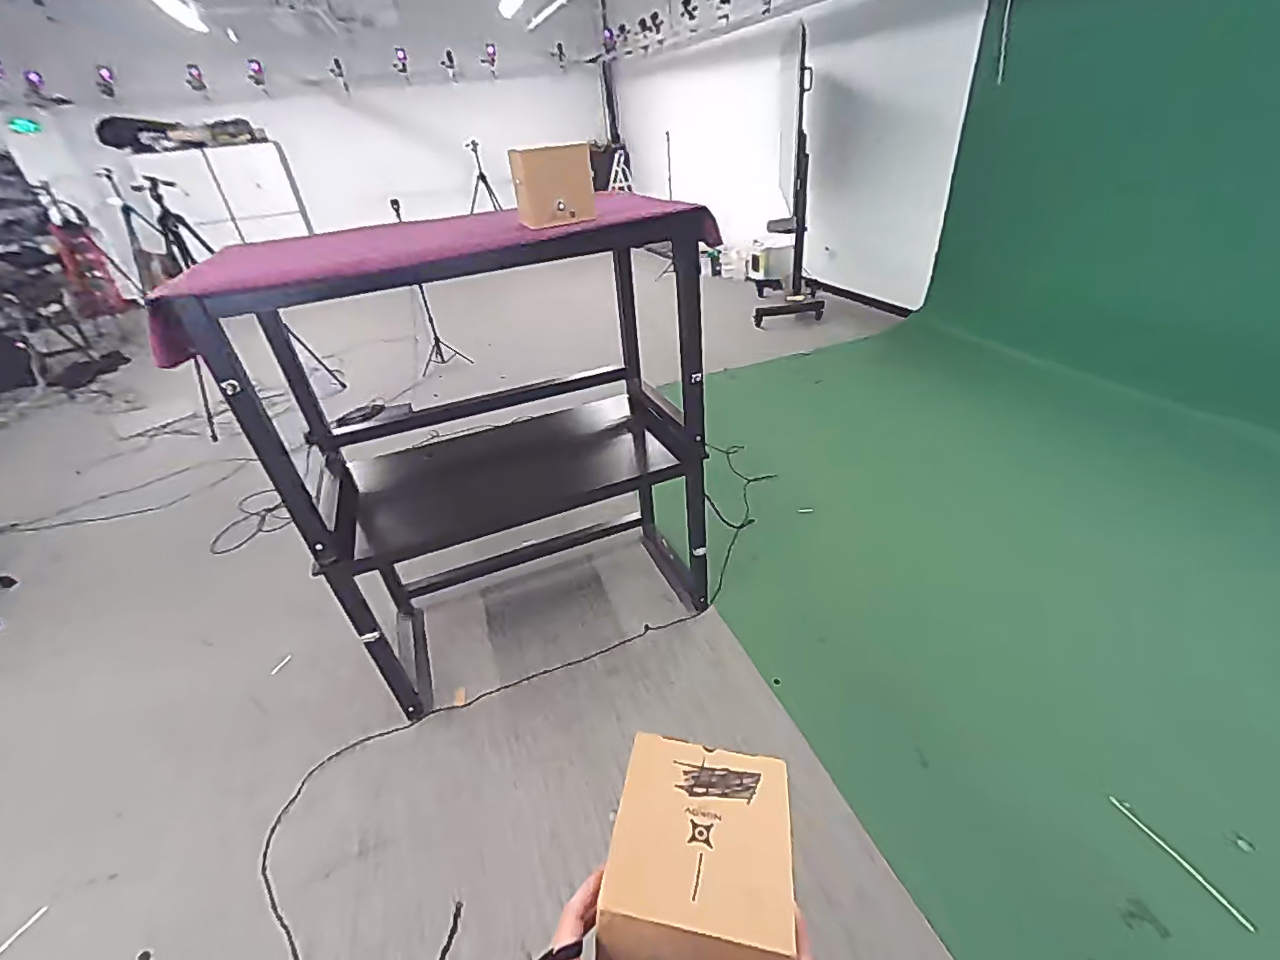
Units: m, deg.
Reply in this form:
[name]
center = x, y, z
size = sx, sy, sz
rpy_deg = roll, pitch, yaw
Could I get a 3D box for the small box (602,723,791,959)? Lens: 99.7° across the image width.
[small box]
center = 0.056, 0.395, 0.564
size = 0.168, 0.176, 0.179
rpy_deg = 7, 28, 8
